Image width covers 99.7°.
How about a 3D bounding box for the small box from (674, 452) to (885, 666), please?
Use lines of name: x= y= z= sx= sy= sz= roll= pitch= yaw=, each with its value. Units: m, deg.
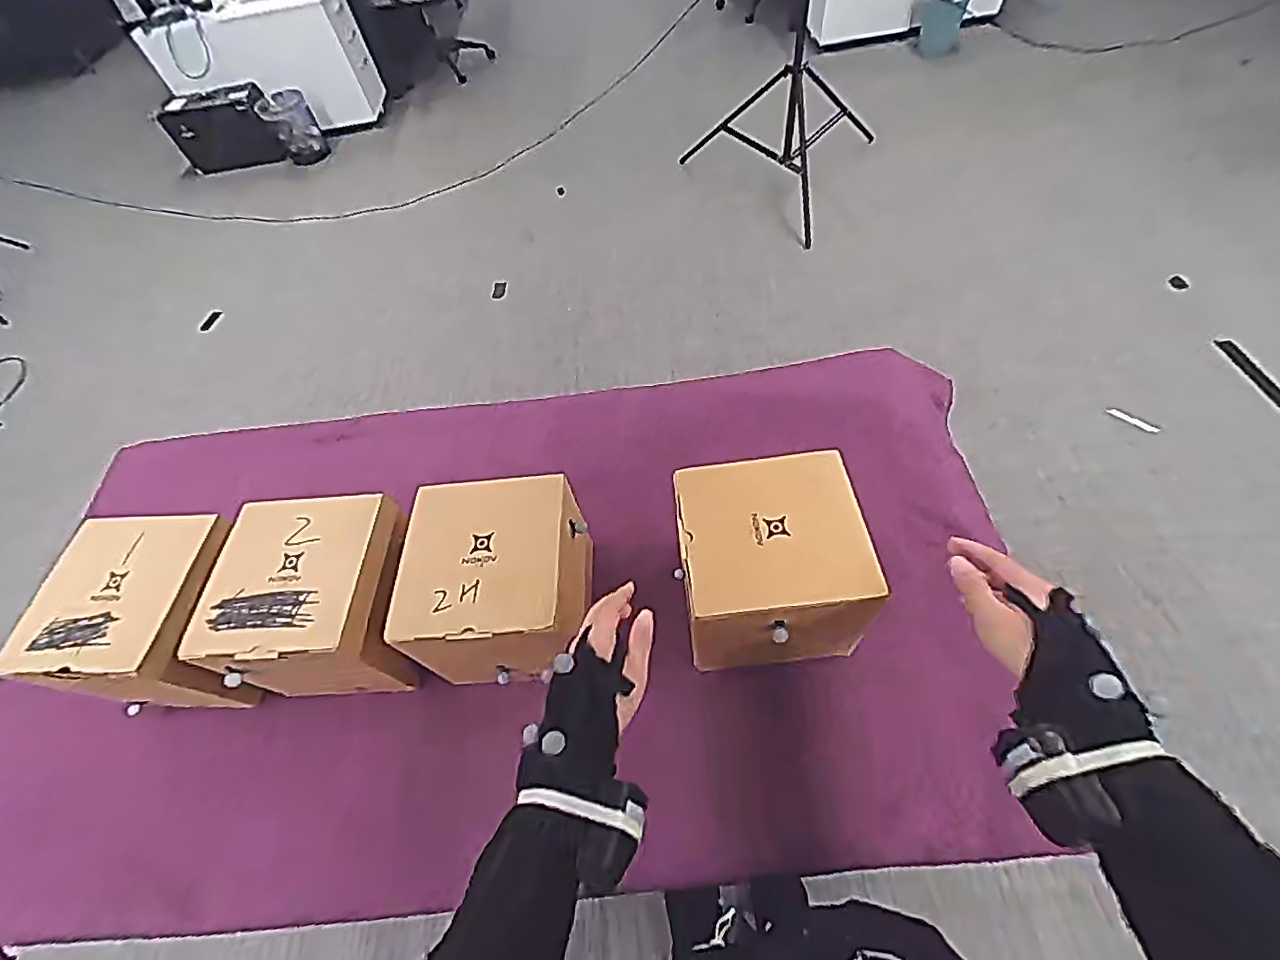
small box: x=0.135 y=0.092 z=0.589 sx=0.179 sy=0.176 sz=0.168 roll=-8 pitch=55 yaw=4
